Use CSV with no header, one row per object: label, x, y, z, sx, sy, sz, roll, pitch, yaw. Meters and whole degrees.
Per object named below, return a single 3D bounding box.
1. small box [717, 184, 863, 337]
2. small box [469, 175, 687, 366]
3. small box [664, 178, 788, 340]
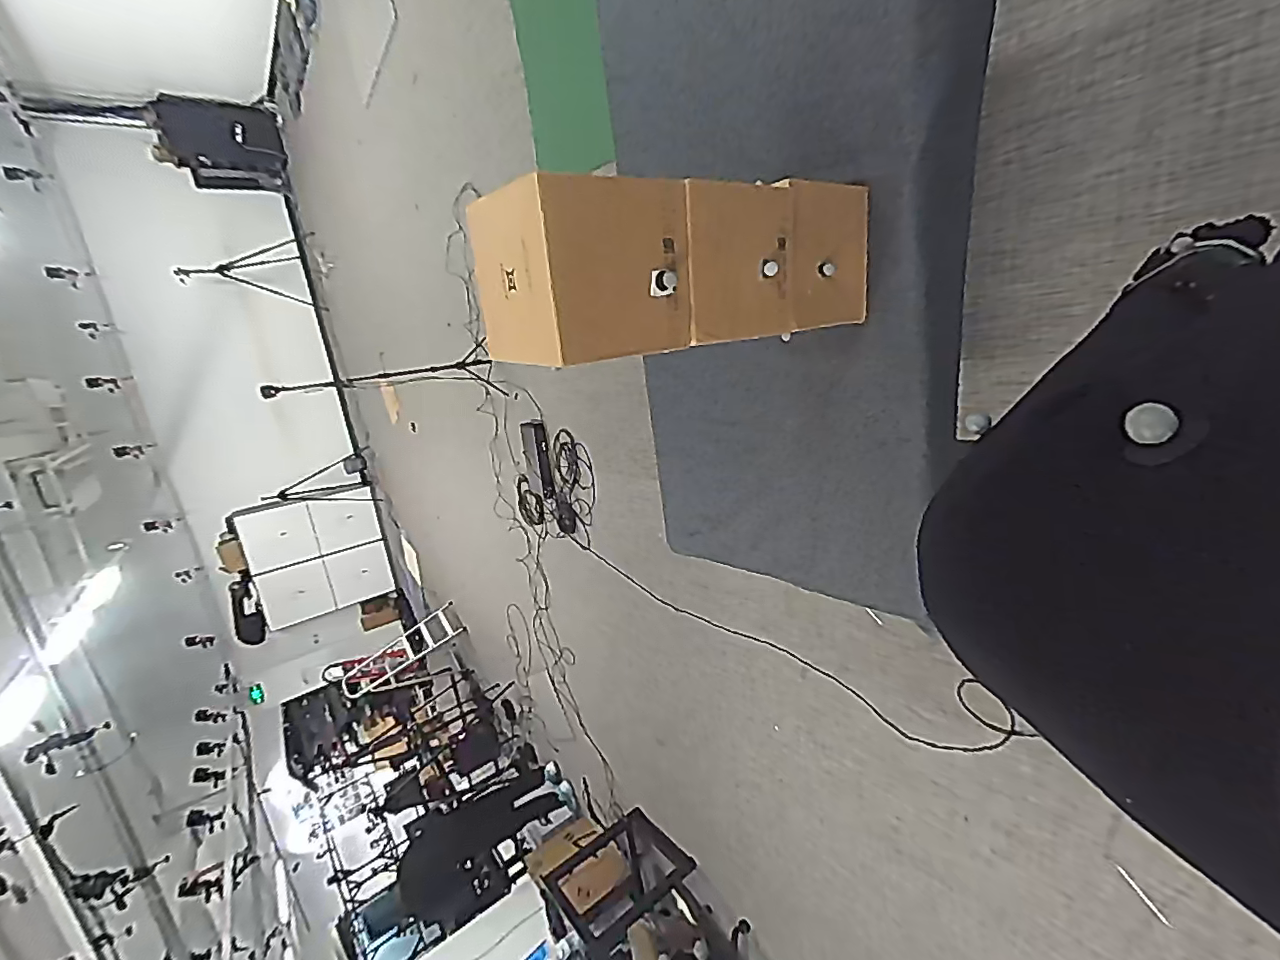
small box,0.199,-0.307,0.771,0.168,0.176,0.179,16,118,52
small box,-0.066,-0.225,0.599,0.179,0.176,0.168,18,121,50
small box,0.065,-0.266,0.685,0.179,0.176,0.168,17,118,54
